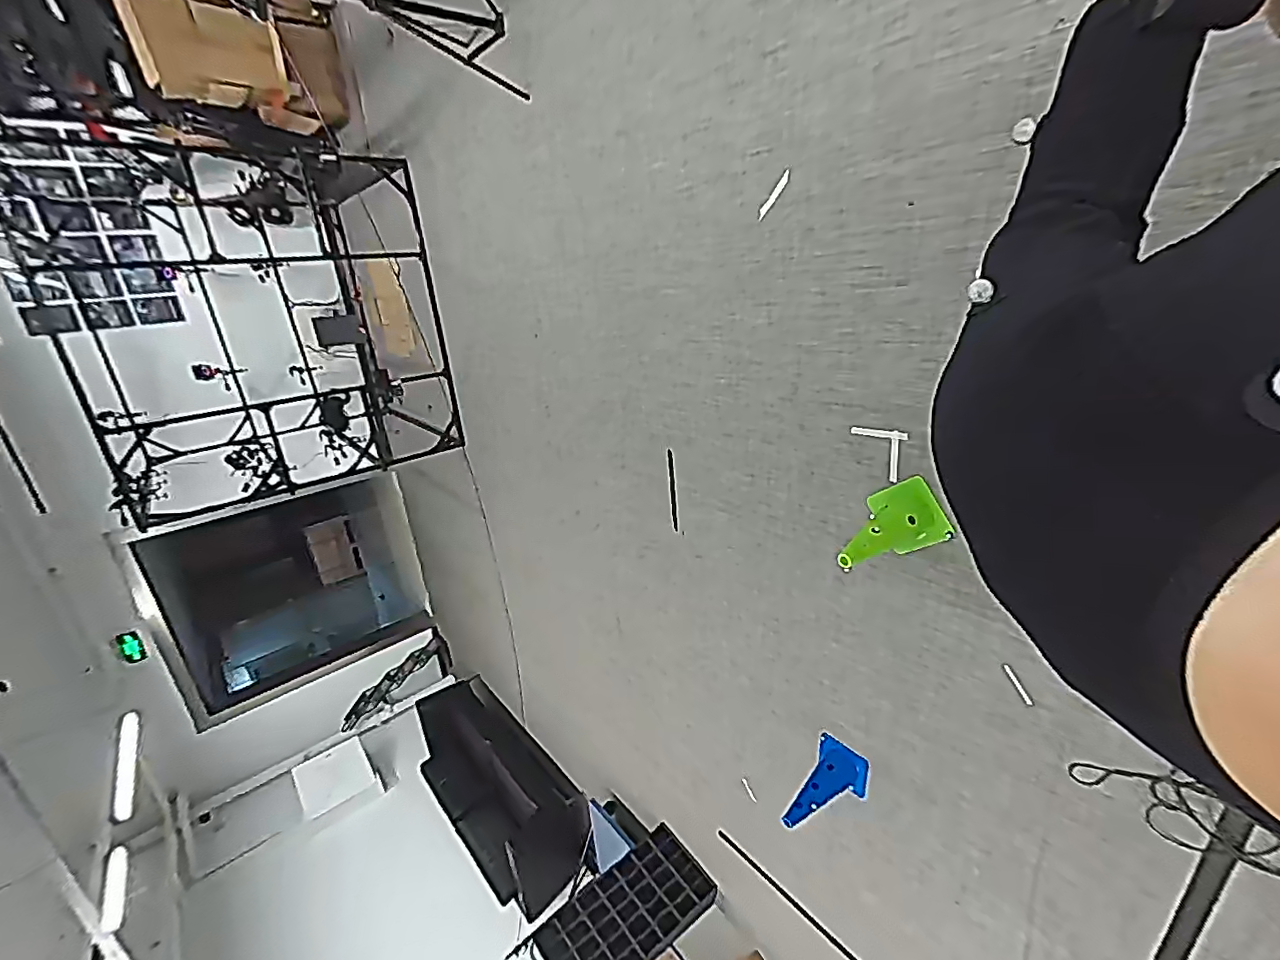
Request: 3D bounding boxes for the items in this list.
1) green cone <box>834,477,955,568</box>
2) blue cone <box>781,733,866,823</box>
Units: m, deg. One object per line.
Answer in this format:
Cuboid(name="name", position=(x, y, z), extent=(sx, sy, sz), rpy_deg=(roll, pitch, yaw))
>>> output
Cuboid(name="green cone", position=(0.663, 0.154, 1.500), extent=(0.200, 0.368, 0.202), rpy_deg=(63, 146, 10))
Cuboid(name="blue cone", position=(0.667, 1.157, 2.024), extent=(0.192, 0.380, 0.193), rpy_deg=(25, 125, 46))
